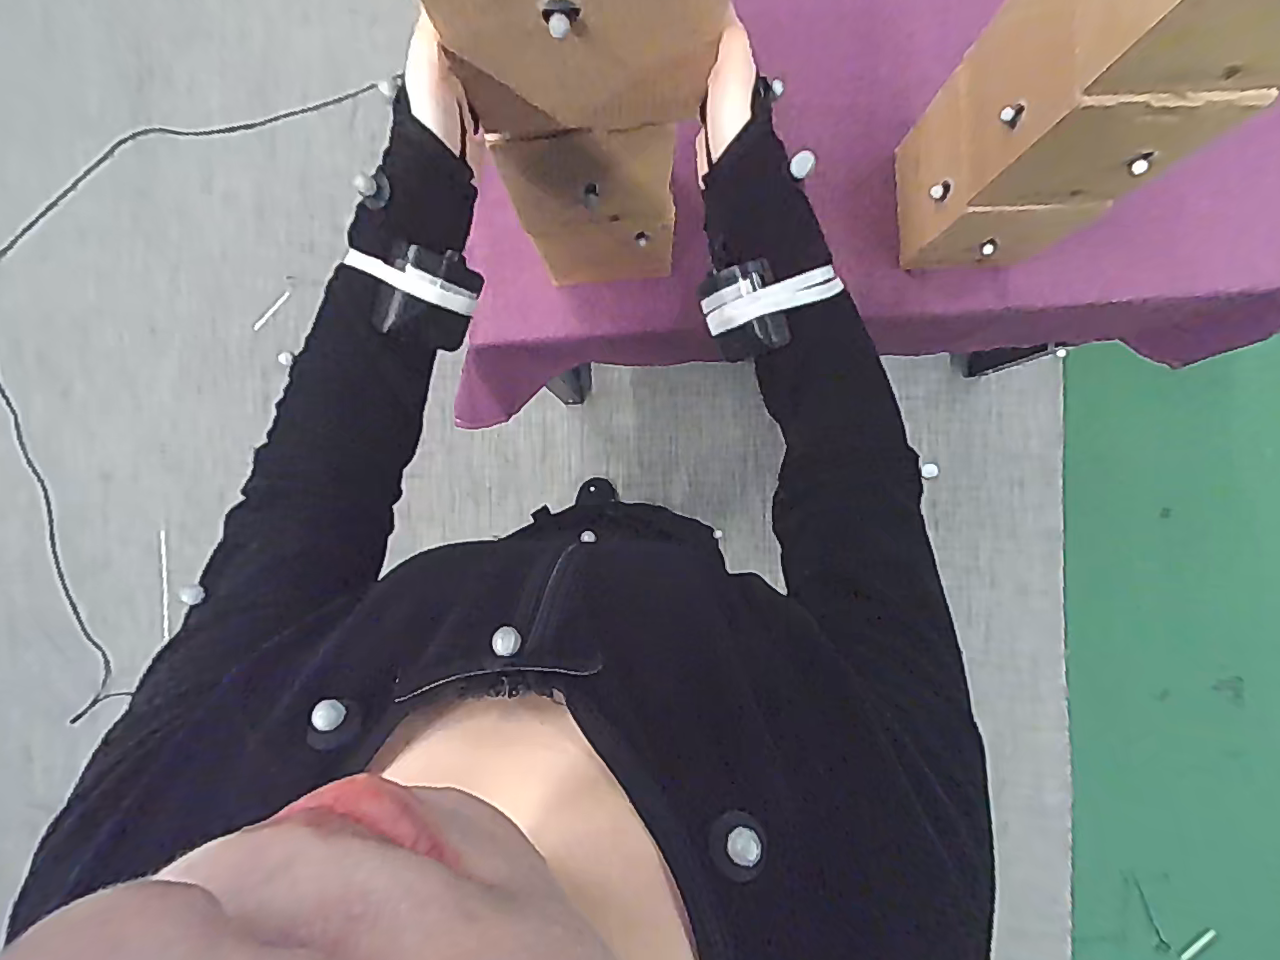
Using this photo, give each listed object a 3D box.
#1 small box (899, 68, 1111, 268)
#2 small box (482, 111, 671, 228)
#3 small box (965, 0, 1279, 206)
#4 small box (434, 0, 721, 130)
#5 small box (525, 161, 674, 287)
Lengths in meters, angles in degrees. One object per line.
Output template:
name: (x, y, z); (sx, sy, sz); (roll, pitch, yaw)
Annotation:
small box: (0.452, -0.385, 0.695); (0.168, 0.176, 0.179); (-2, 89, 1)
small box: (-0.058, -0.374, 0.545); (0.168, 0.176, 0.179); (-5, 89, 0)
small box: (0.448, -0.393, 0.532); (0.168, 0.176, 0.179); (0, 88, 1)
small box: (-0.040, -0.351, 0.342); (0.179, 0.176, 0.168); (-4, 97, -1)
small box: (-0.050, -0.367, 0.709); (0.179, 0.176, 0.168); (-5, 88, 1)
